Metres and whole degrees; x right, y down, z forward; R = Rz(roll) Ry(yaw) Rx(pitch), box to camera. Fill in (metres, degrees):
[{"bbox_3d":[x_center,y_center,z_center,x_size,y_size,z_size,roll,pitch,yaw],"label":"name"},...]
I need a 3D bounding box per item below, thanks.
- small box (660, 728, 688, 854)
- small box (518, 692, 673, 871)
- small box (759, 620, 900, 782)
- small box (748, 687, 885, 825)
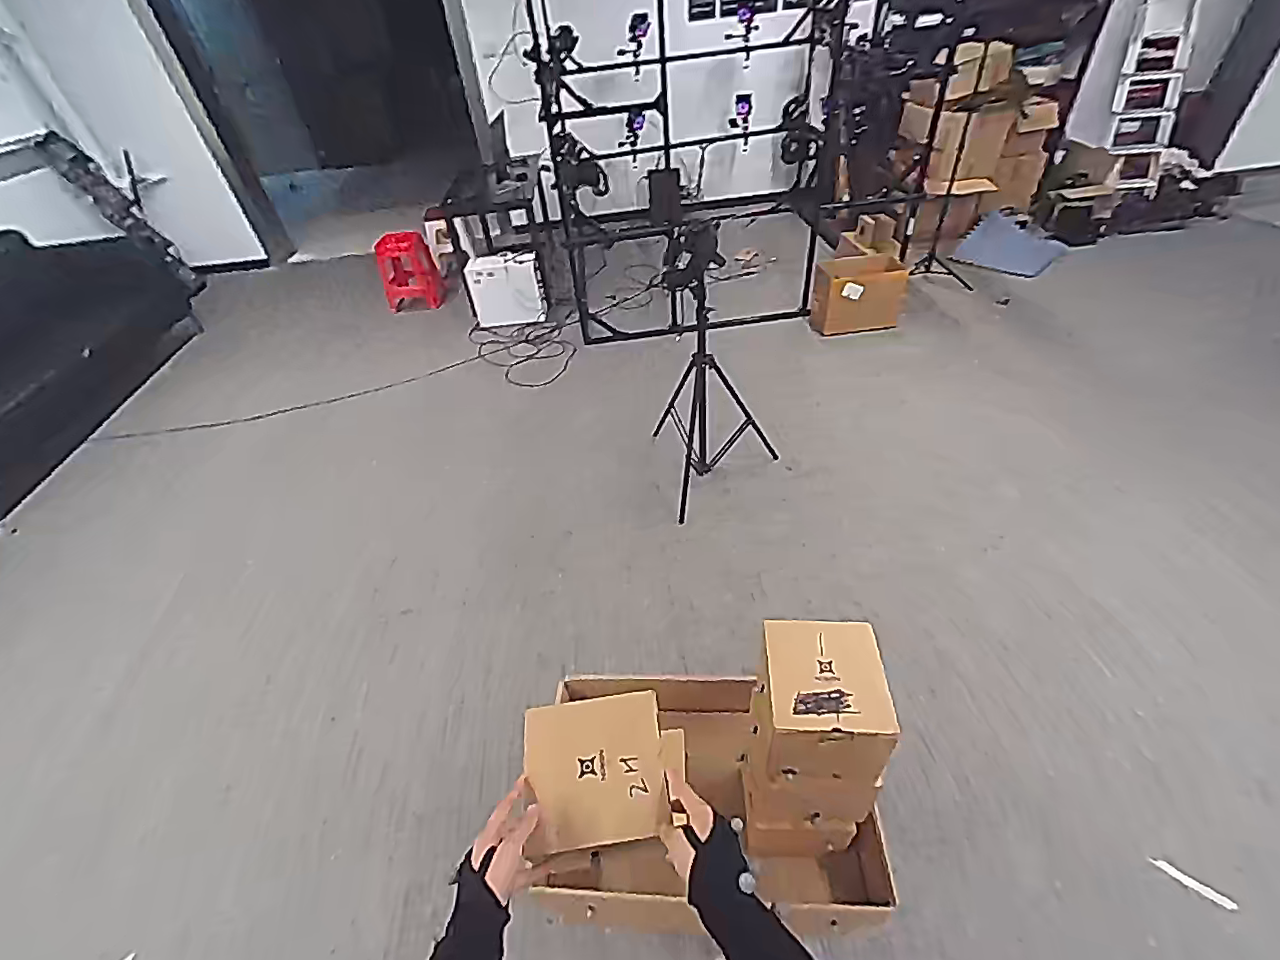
[{"bbox_3d":[0.008,0.605,1.050,0.168,0.176,0.179,-2,41,4],"label":"small box"},{"bbox_3d":[-0.054,0.401,0.715,0.179,0.176,0.168,-7,50,-2],"label":"small box"},{"bbox_3d":[0.272,0.336,0.821,0.168,0.176,0.179,0,41,7],"label":"small box"},{"bbox_3d":[0.285,0.468,0.919,0.179,0.176,0.168,-2,42,3],"label":"small box"}]
